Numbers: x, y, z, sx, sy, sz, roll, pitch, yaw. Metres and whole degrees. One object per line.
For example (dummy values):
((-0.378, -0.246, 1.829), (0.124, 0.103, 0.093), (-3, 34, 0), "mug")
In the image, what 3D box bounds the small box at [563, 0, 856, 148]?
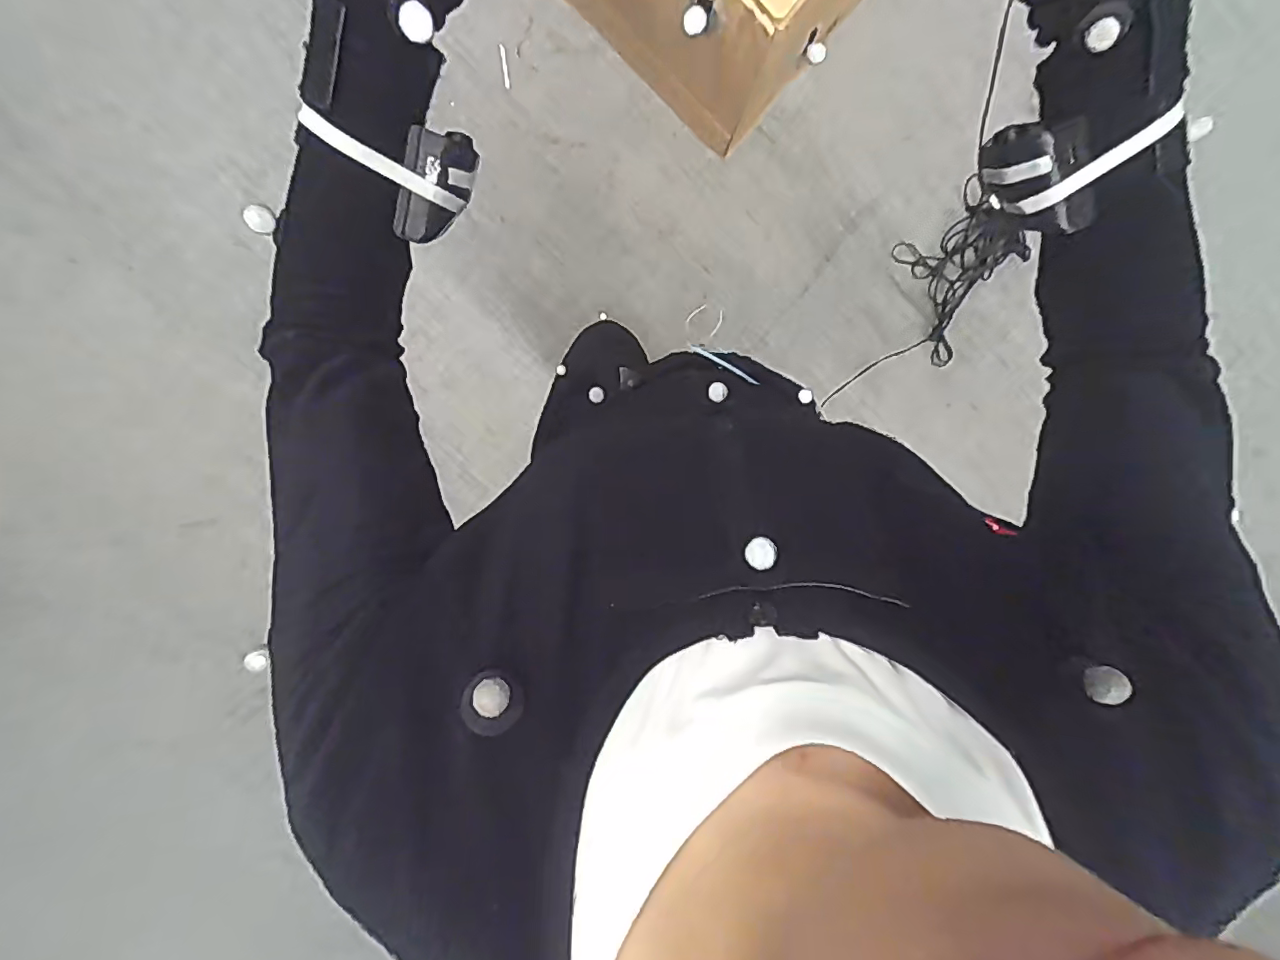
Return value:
((0.050, -0.345, 0.318), (0.179, 0.176, 0.168), (42, 98, -9), "small box")
